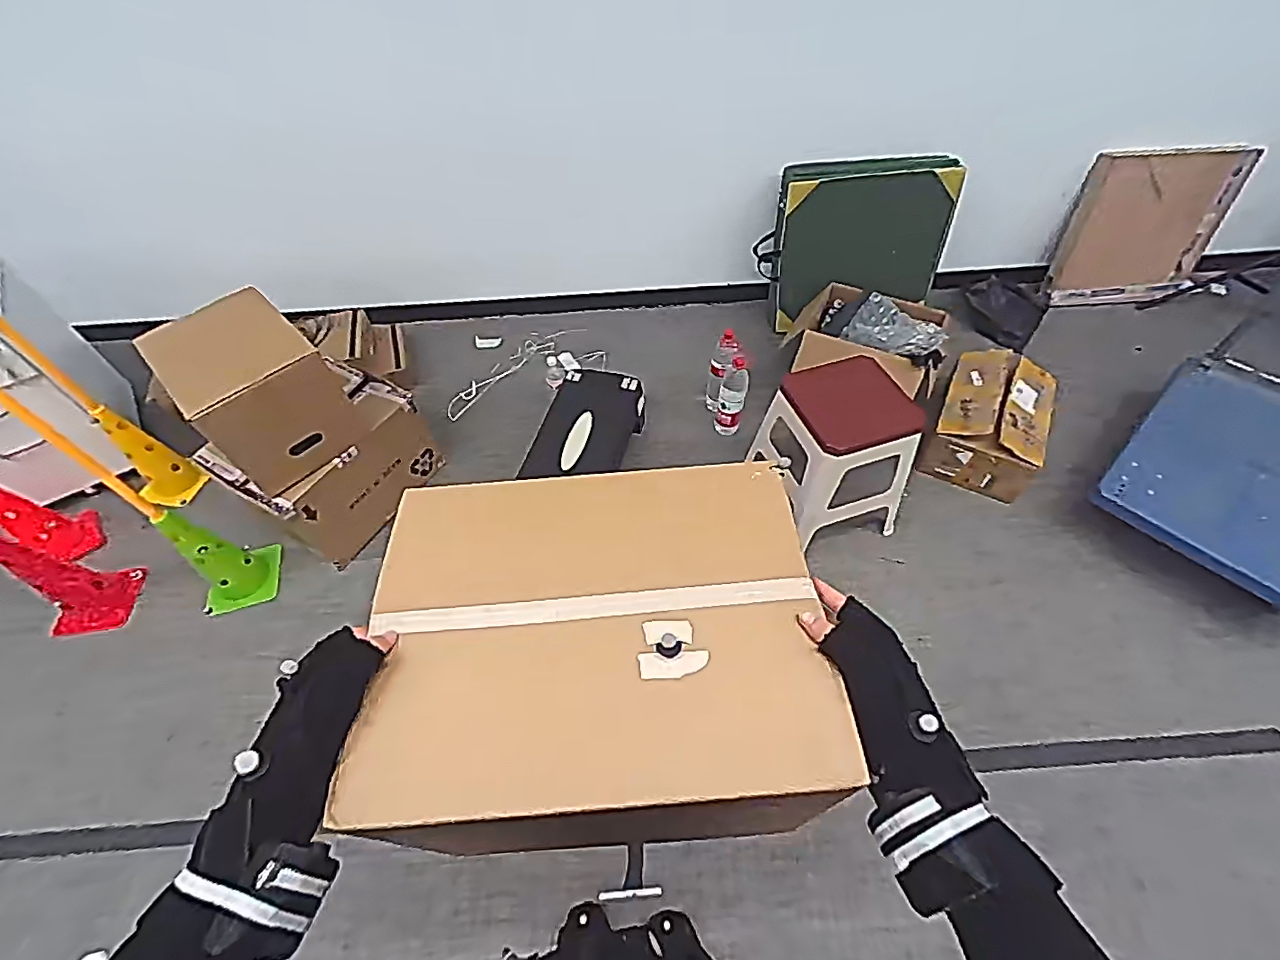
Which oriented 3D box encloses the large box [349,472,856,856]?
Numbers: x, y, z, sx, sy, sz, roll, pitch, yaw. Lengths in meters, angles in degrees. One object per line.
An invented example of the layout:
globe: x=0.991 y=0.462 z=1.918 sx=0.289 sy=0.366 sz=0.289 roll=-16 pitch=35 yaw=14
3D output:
large box: x=-0.033 y=0.218 z=0.623 sx=0.408 sy=0.320 sz=0.320 roll=-4 pitch=52 yaw=0
